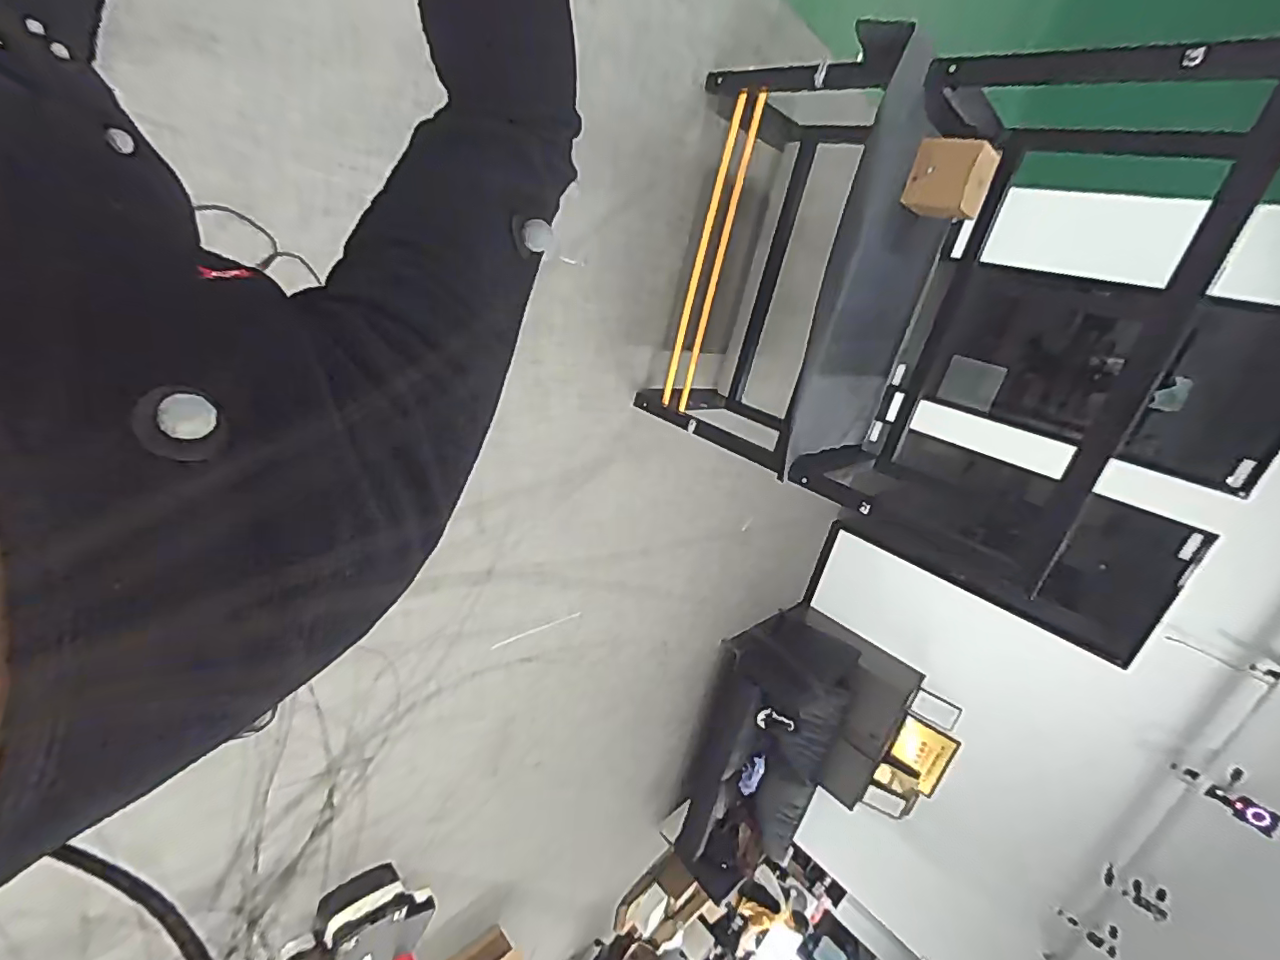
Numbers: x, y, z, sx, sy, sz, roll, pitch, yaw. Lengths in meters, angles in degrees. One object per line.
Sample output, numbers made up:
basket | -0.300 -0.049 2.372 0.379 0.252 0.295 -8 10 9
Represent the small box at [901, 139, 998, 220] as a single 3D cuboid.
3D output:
small box | 0.885 -0.862 1.550 0.179 0.176 0.168 -10 121 -46
